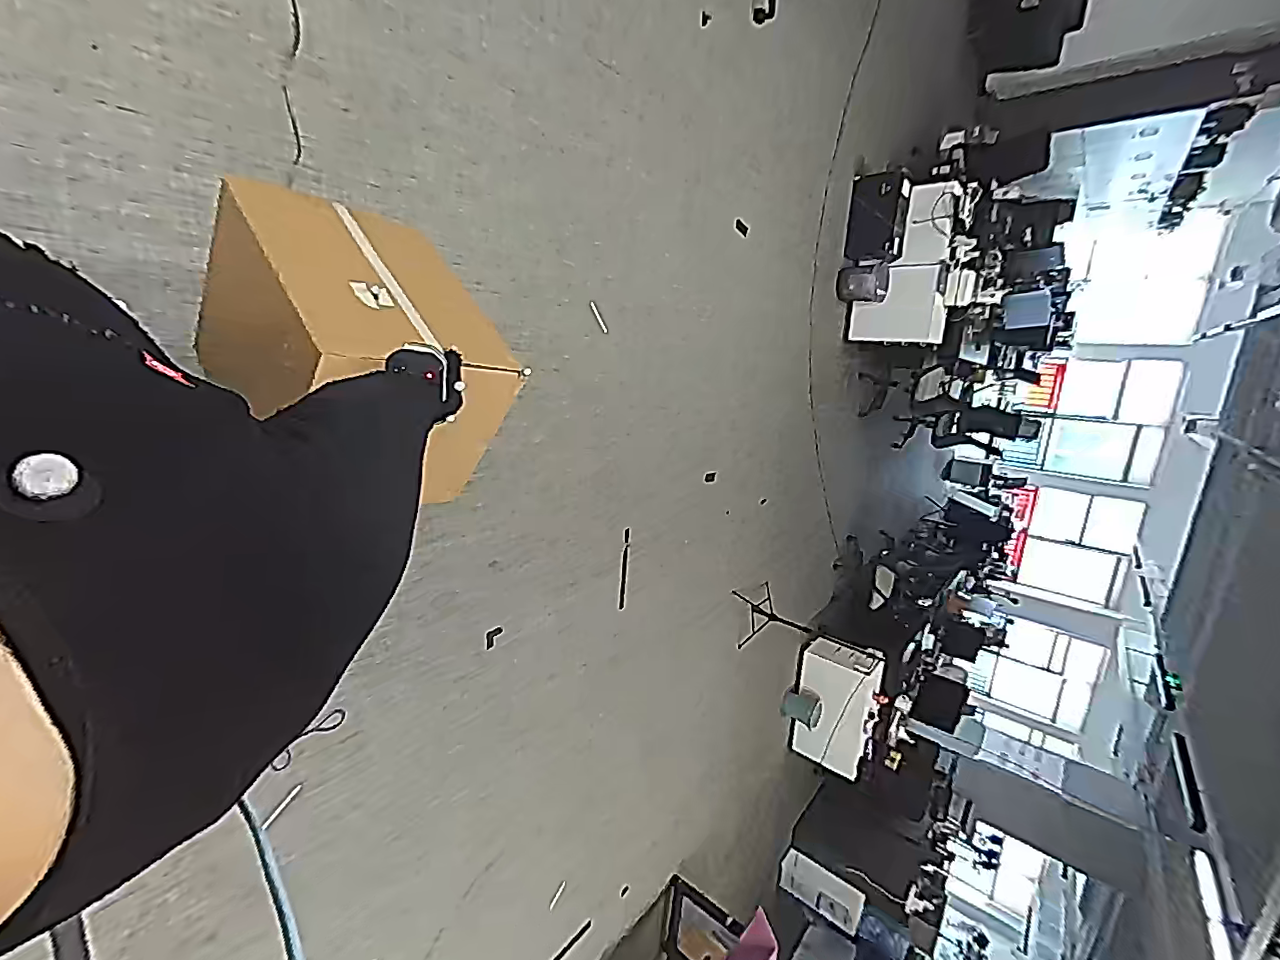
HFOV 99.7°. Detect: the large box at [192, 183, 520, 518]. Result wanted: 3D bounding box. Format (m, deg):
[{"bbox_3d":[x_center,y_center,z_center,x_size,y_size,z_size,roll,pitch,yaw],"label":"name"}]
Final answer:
[{"bbox_3d":[-0.484,-0.198,0.907,0.320,0.408,0.320,-8,144,-53],"label":"large box"}]
